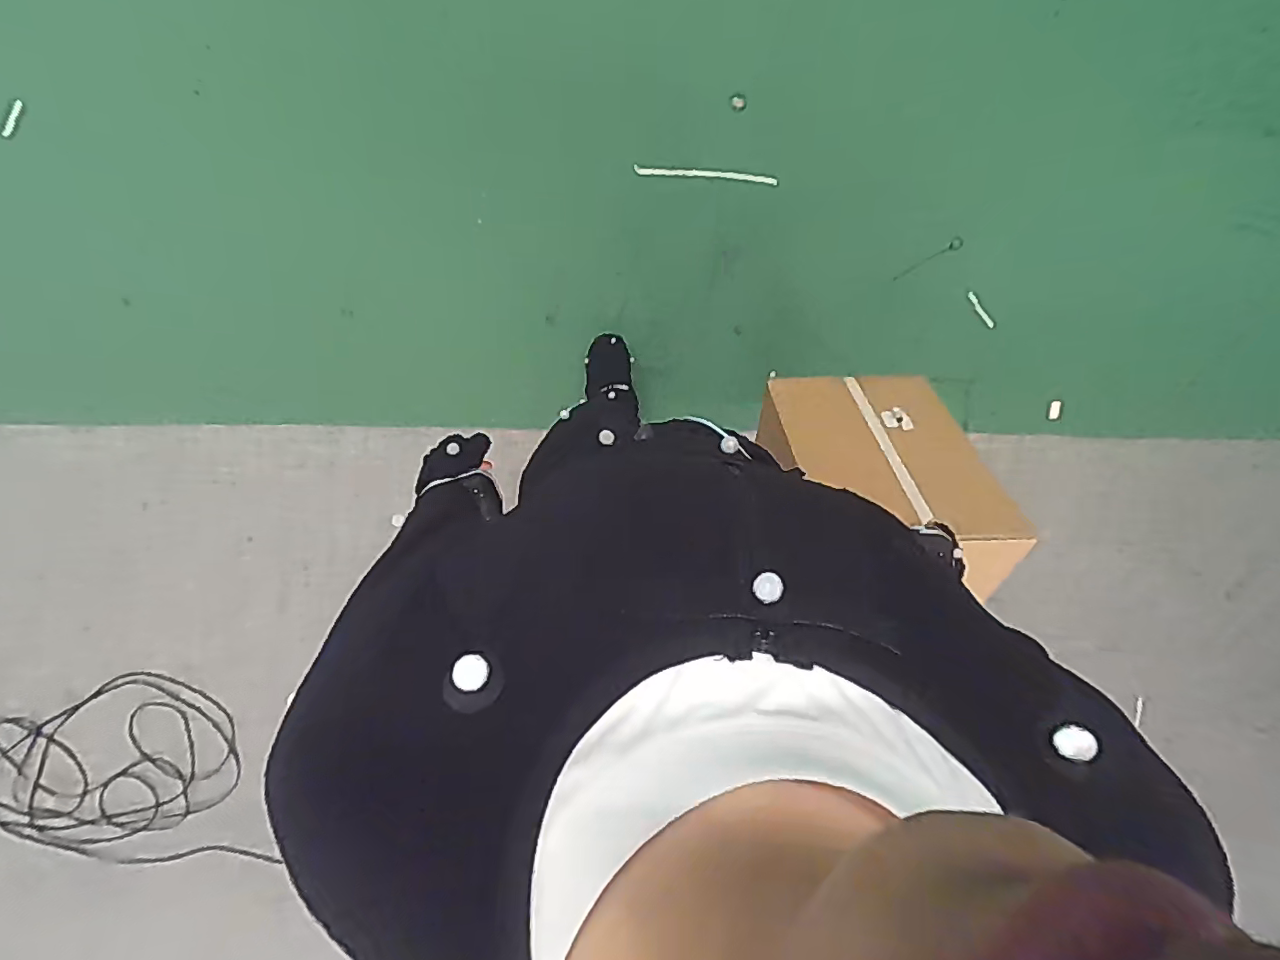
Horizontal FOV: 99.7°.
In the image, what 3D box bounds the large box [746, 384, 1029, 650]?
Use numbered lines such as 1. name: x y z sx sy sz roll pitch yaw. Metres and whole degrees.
1. large box: 0.407 0.060 1.023 0.320 0.408 0.320 -1 133 -3
